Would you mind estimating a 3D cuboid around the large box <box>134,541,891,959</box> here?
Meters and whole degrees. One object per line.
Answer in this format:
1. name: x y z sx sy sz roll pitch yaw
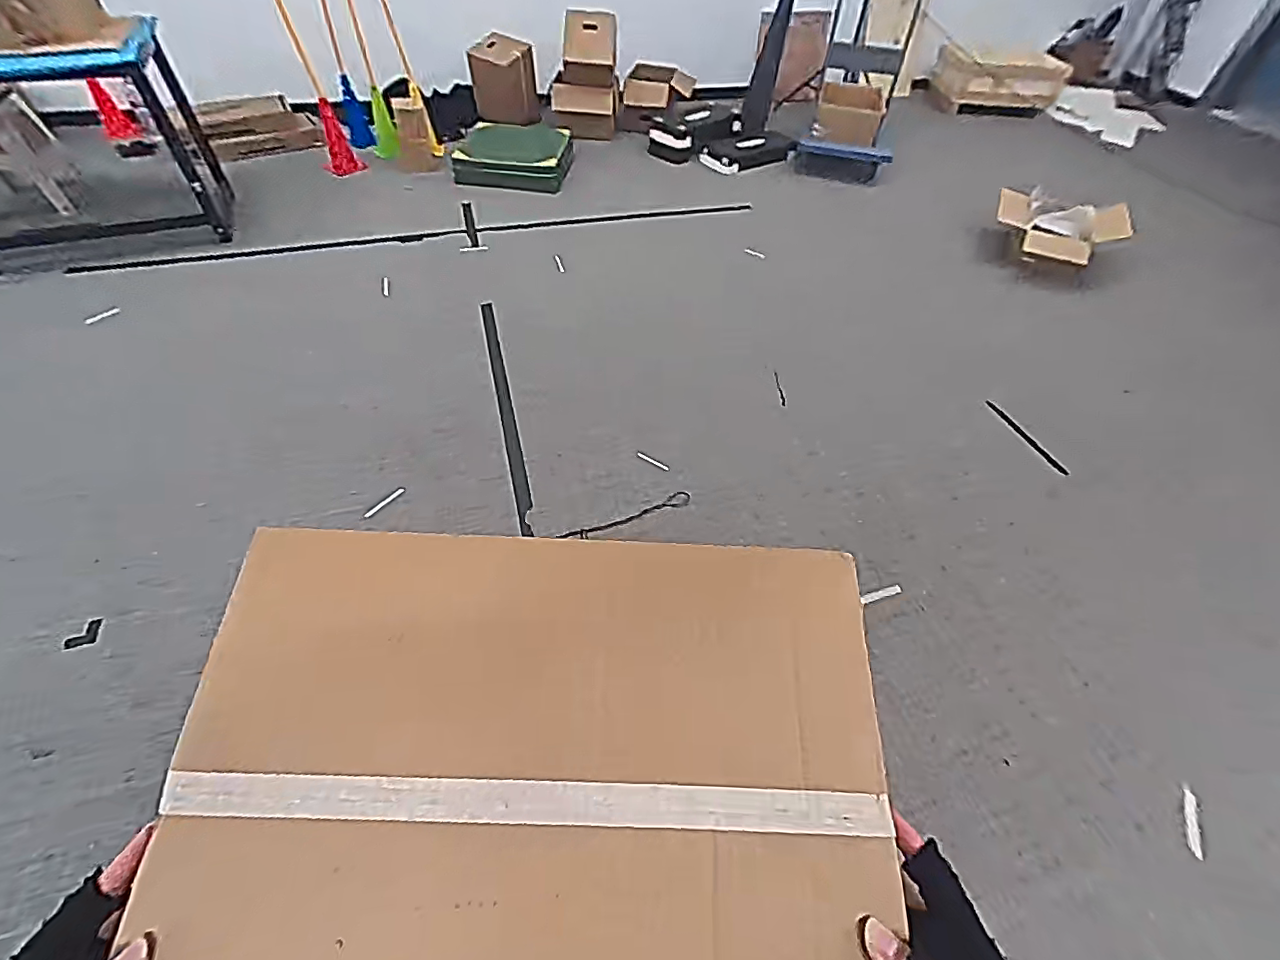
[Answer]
1. large box: -0.067 0.250 0.449 0.408 0.320 0.320 2 65 0
